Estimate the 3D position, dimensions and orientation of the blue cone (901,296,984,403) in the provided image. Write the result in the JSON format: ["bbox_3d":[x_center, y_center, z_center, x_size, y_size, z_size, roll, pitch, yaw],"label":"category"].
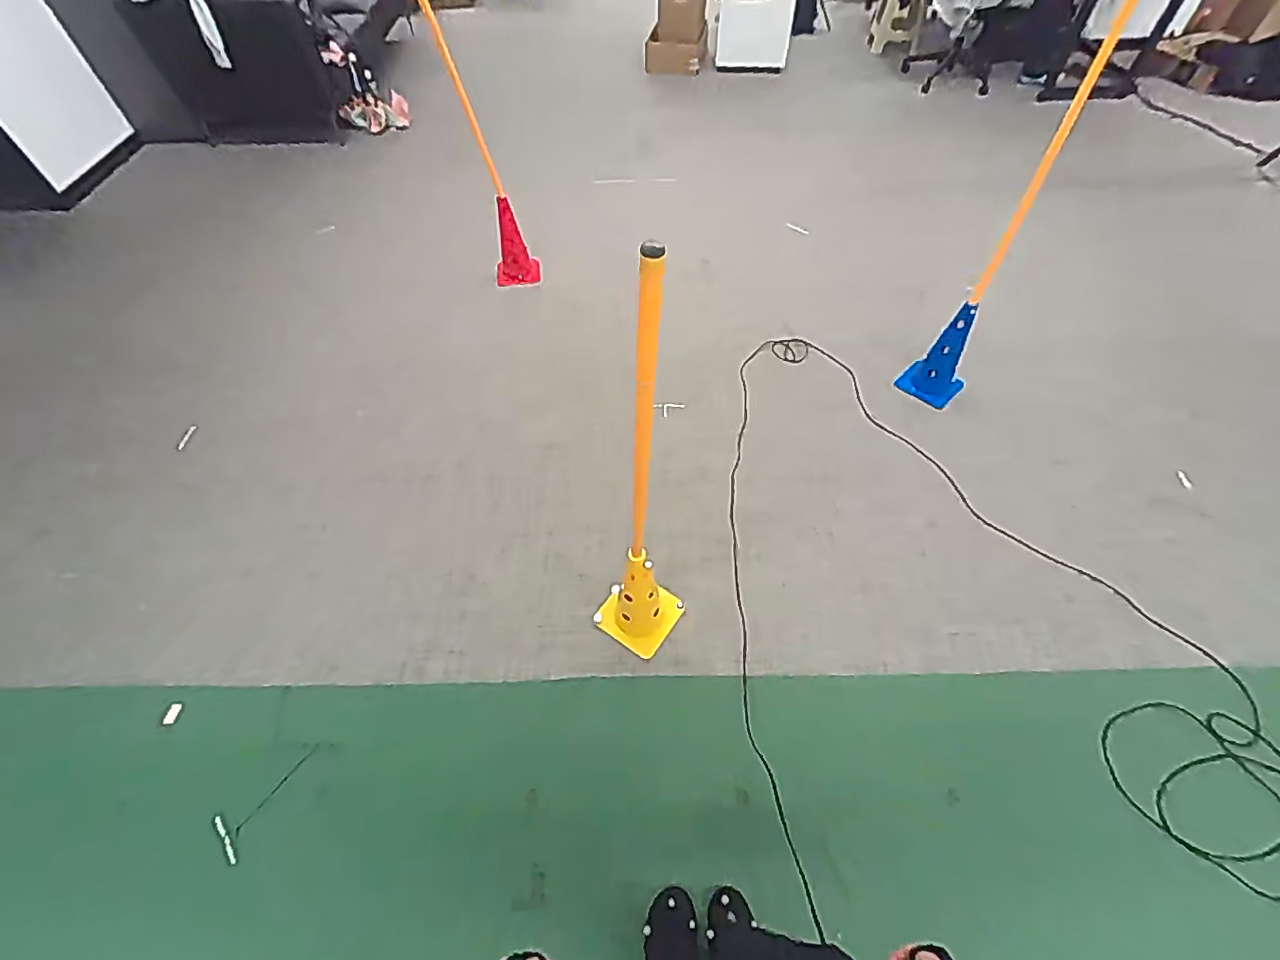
[{"bbox_3d":[1.105,-0.481,1.923,0.192,0.380,0.193,37,60,25],"label":"blue cone"}]
